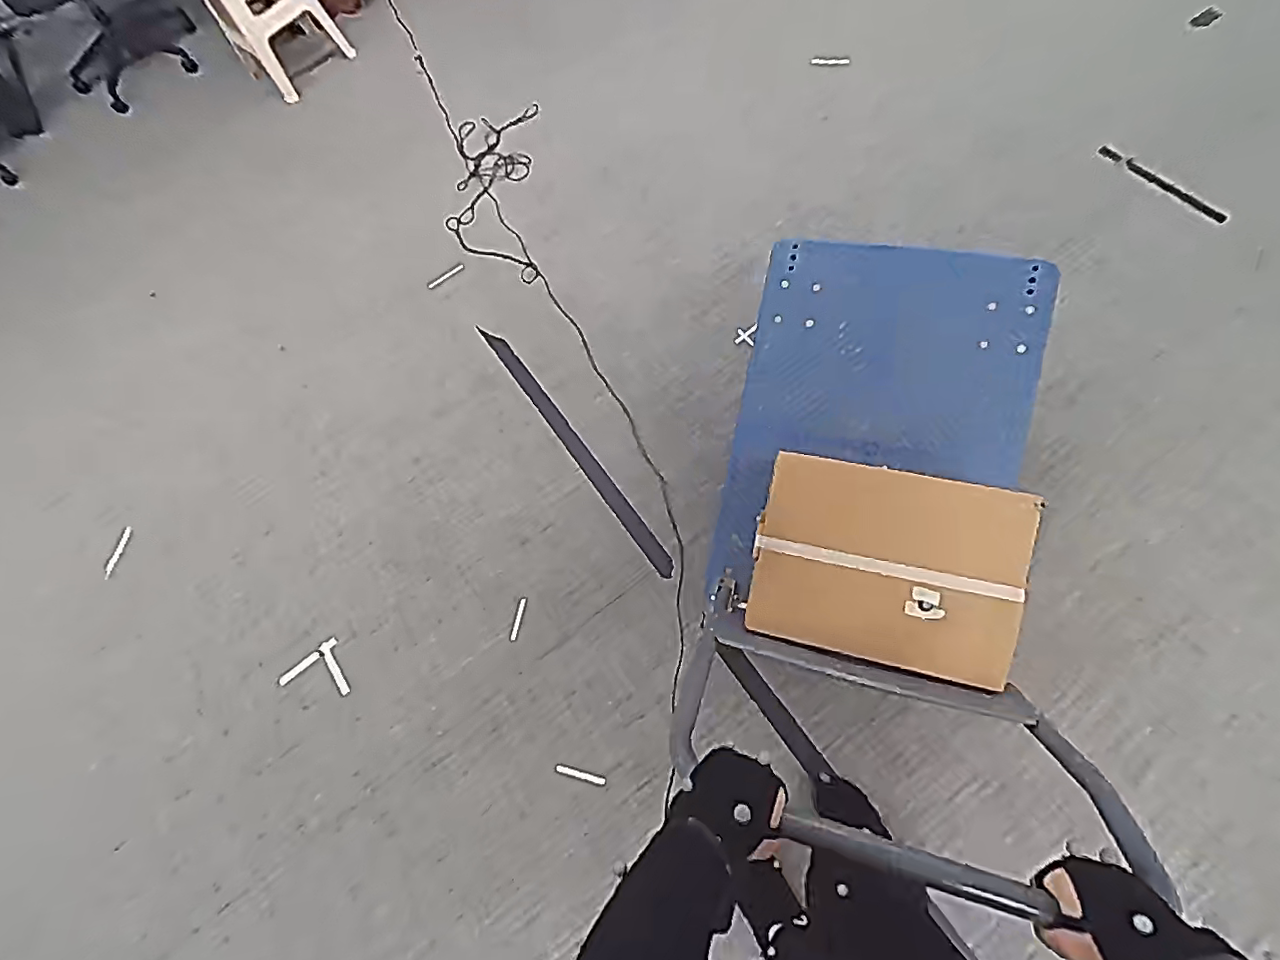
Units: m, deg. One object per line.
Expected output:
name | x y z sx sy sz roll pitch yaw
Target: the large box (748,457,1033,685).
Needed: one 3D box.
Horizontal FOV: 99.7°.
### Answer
large box | 0.434 0.146 1.040 0.408 0.320 0.320 11 92 13
